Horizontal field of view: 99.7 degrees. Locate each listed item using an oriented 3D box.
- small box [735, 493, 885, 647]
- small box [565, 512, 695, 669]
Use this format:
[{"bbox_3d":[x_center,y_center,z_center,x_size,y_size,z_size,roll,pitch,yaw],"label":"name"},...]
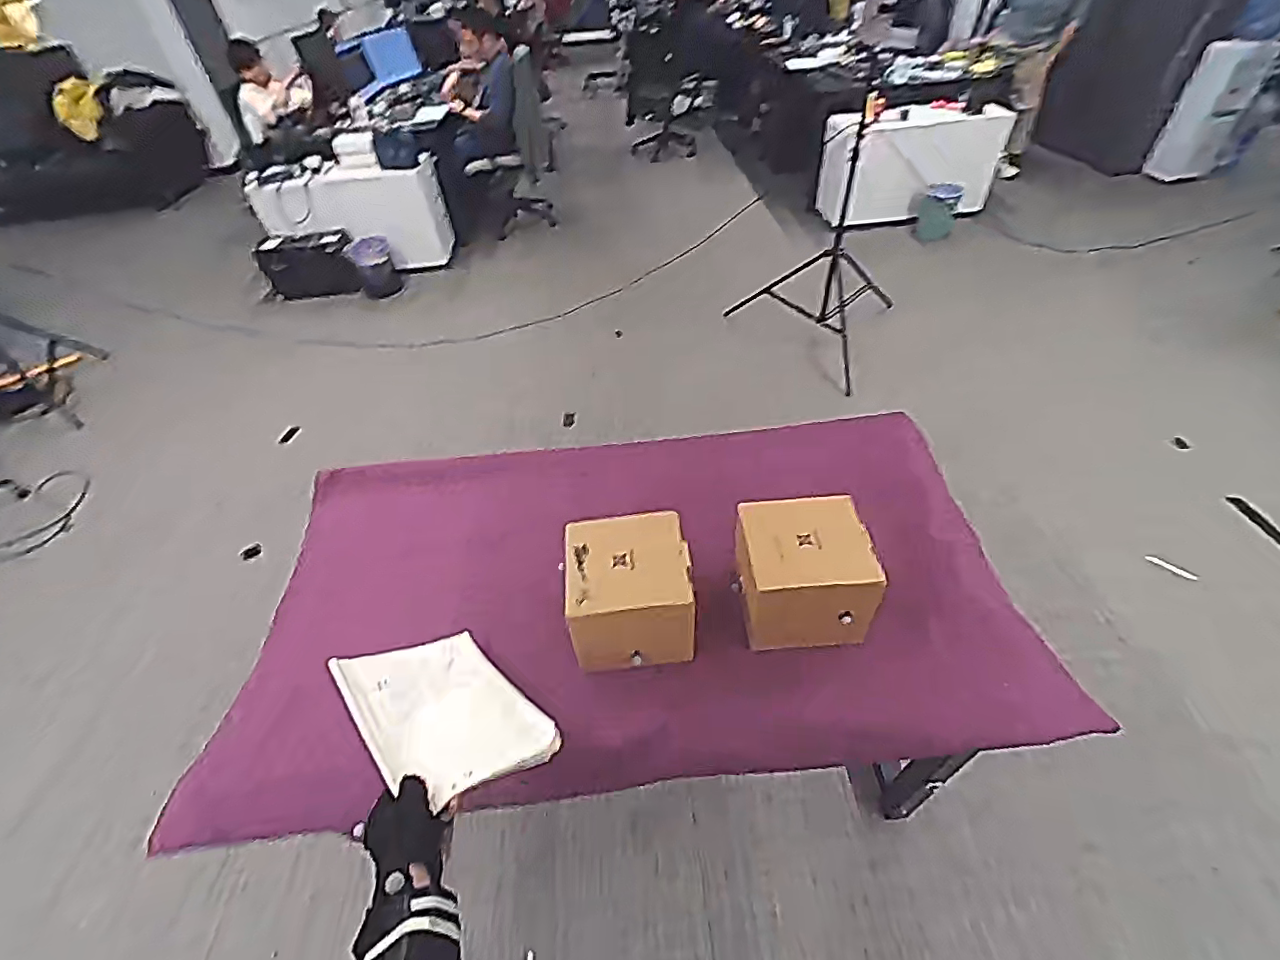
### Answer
[{"bbox_3d":[0.248,0.141,0.837,0.179,0.176,0.168,-5,43,2],"label":"small box"},{"bbox_3d":[-0.016,0.171,0.831,0.179,0.176,0.168,-6,44,-2],"label":"small box"}]
